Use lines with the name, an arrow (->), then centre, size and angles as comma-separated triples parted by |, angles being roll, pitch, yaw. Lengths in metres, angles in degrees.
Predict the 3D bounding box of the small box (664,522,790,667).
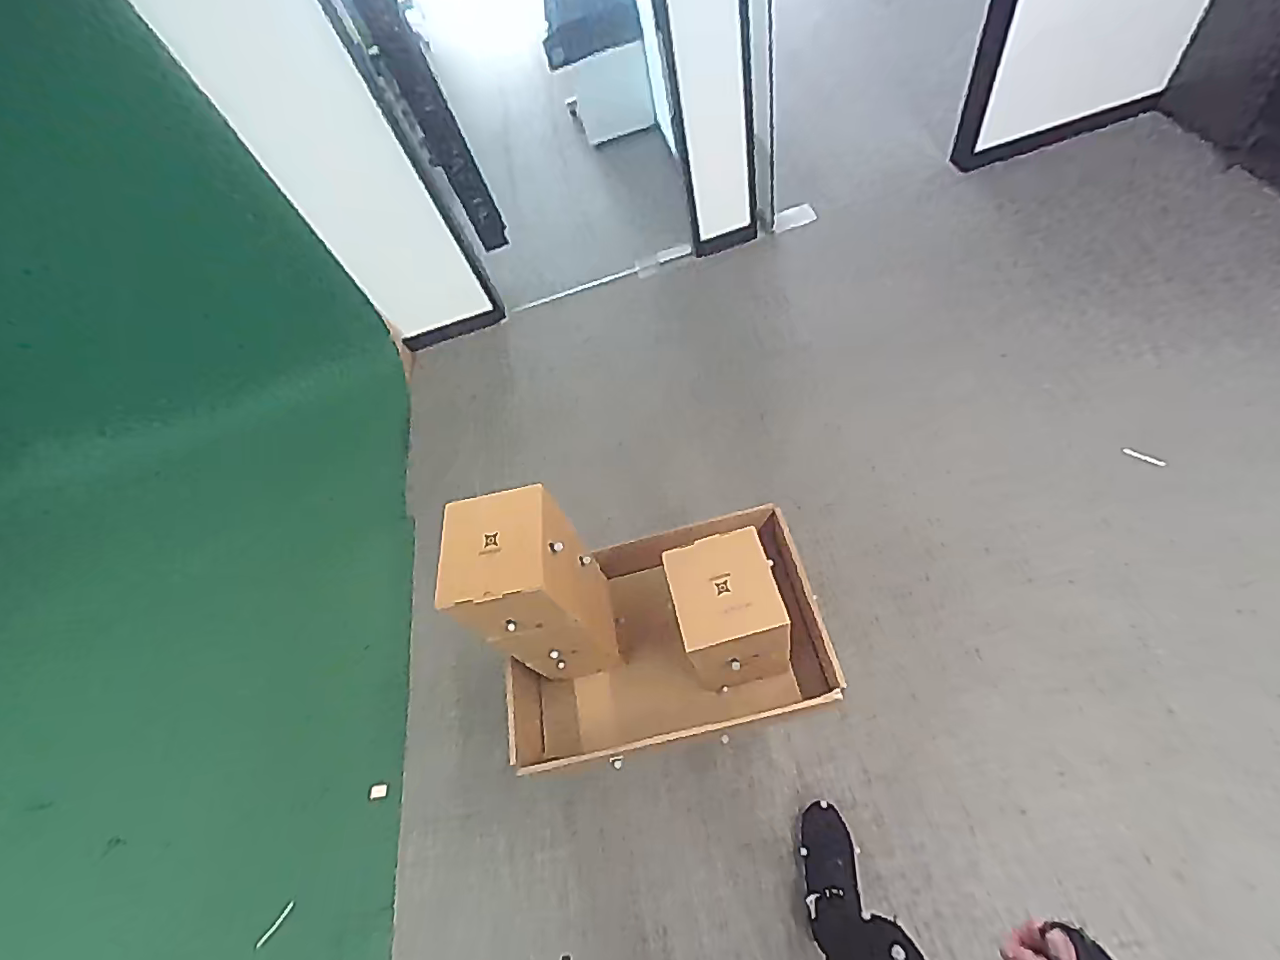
small box -> 0.149, 0.201, 0.929 | 0.168, 0.176, 0.179 | -16, 57, 5

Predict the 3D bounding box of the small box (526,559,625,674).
small box -> -0.135, 0.292, 1.145 | 0.168, 0.176, 0.179 | -14, 57, 6

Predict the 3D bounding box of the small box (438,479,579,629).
small box -> -0.201, 0.124, 0.874 | 0.168, 0.176, 0.179 | -11, 58, 8

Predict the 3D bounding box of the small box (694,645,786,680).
small box -> 0.184, 0.284, 1.066 | 0.168, 0.176, 0.179 | -15, 56, 5

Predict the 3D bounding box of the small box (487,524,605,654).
small box -> -0.169, 0.208, 1.008 | 0.168, 0.176, 0.179 | -12, 57, 8
